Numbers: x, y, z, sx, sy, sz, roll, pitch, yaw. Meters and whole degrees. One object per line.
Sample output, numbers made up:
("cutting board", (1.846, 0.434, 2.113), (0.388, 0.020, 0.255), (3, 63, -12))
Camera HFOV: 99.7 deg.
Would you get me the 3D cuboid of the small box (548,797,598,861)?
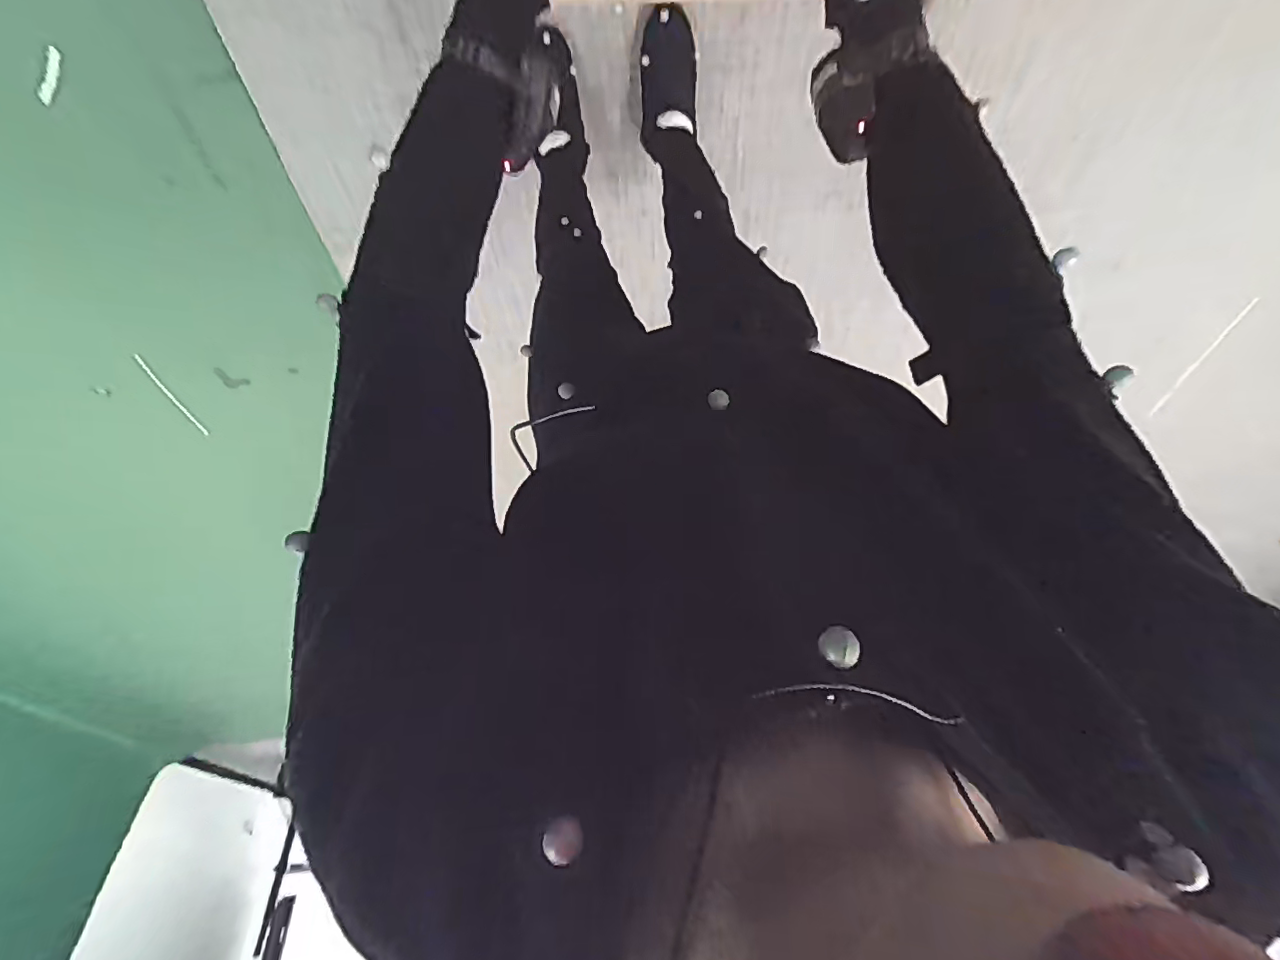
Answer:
("small box", (-0.233, 1.219, 1.888), (0.168, 0.176, 0.179), (1, 139, -6))
